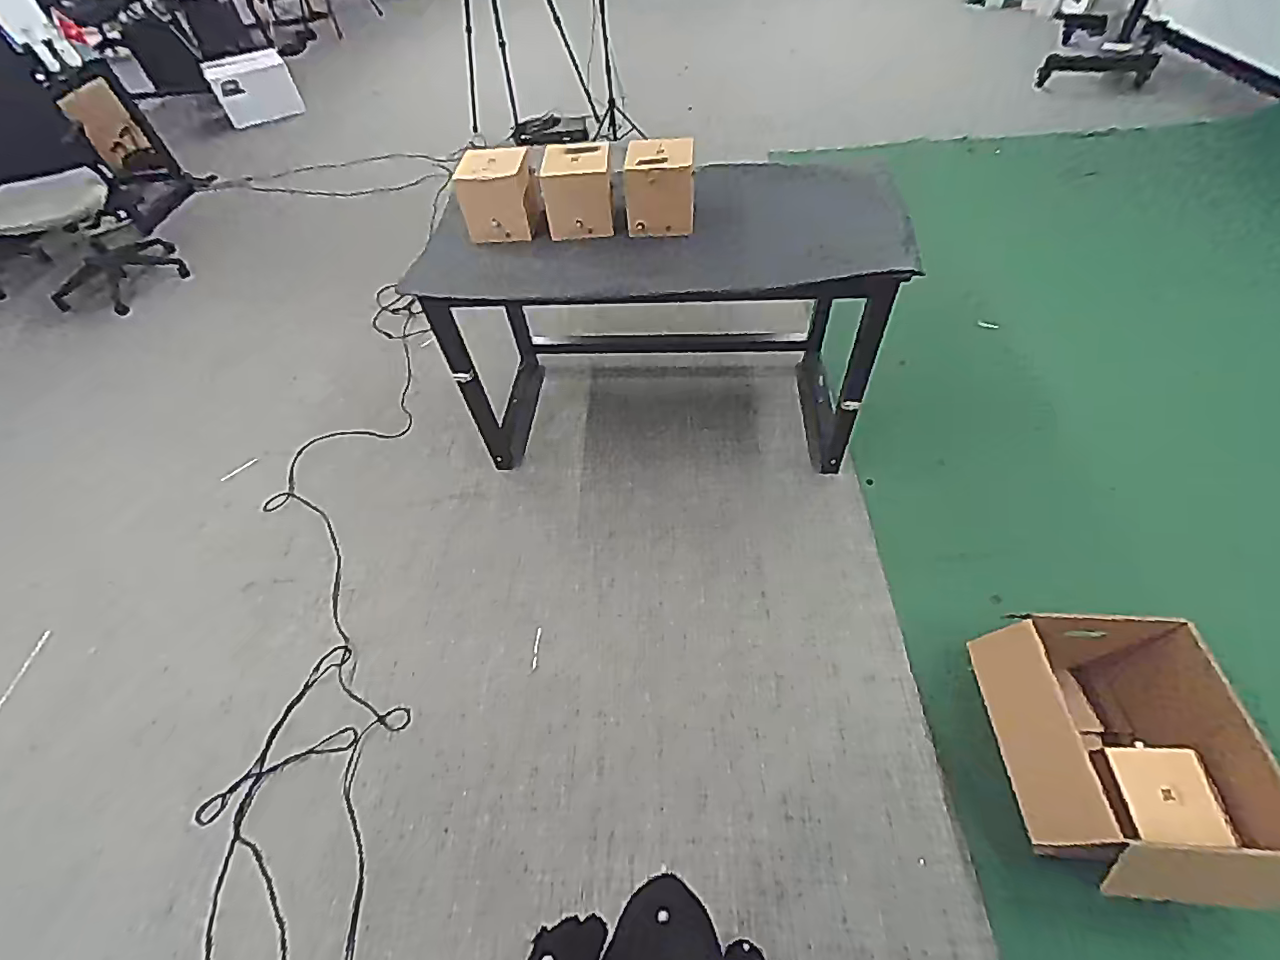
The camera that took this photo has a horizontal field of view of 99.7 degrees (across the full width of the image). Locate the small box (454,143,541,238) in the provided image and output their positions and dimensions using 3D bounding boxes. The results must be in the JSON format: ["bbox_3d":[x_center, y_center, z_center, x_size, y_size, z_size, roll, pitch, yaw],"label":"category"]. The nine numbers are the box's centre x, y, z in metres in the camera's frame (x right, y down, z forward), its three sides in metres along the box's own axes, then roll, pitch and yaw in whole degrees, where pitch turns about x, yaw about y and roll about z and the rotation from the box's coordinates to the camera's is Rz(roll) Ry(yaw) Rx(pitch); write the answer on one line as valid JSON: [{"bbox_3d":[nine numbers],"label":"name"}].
[{"bbox_3d":[-0.365,-0.760,1.424,0.168,0.176,0.179,-1,53,5],"label":"small box"}]
